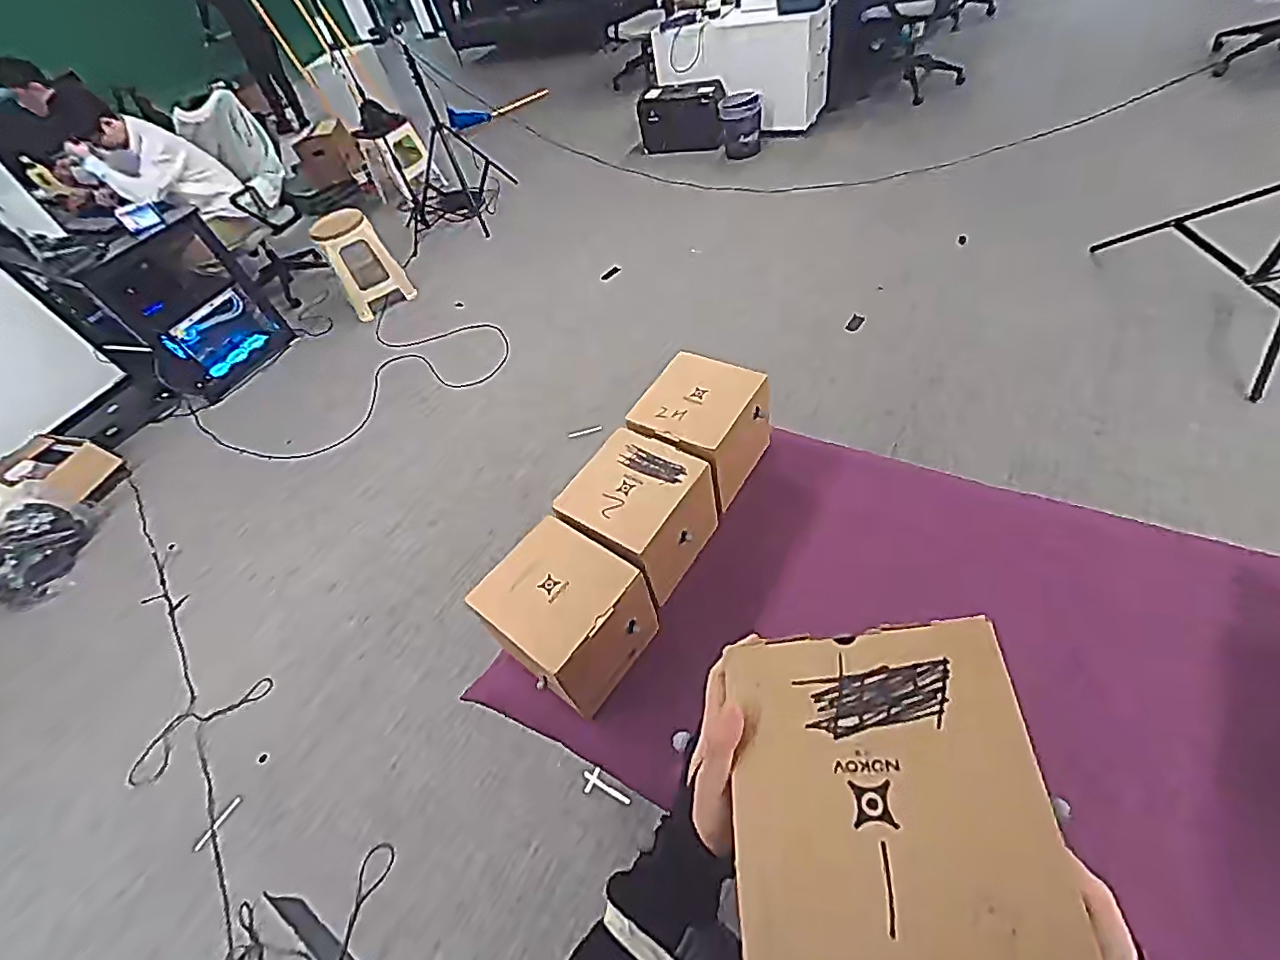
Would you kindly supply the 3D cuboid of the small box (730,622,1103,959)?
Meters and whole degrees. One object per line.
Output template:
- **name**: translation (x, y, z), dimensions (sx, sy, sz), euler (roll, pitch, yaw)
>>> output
- **small box**: translation (0.169, 0.213, 0.365), dimensions (0.168, 0.176, 0.179), euler (-15, 54, 23)

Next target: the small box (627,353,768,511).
- **small box**: translation (0.103, -0.081, 0.916), dimensions (0.168, 0.176, 0.179), euler (23, 62, 29)
